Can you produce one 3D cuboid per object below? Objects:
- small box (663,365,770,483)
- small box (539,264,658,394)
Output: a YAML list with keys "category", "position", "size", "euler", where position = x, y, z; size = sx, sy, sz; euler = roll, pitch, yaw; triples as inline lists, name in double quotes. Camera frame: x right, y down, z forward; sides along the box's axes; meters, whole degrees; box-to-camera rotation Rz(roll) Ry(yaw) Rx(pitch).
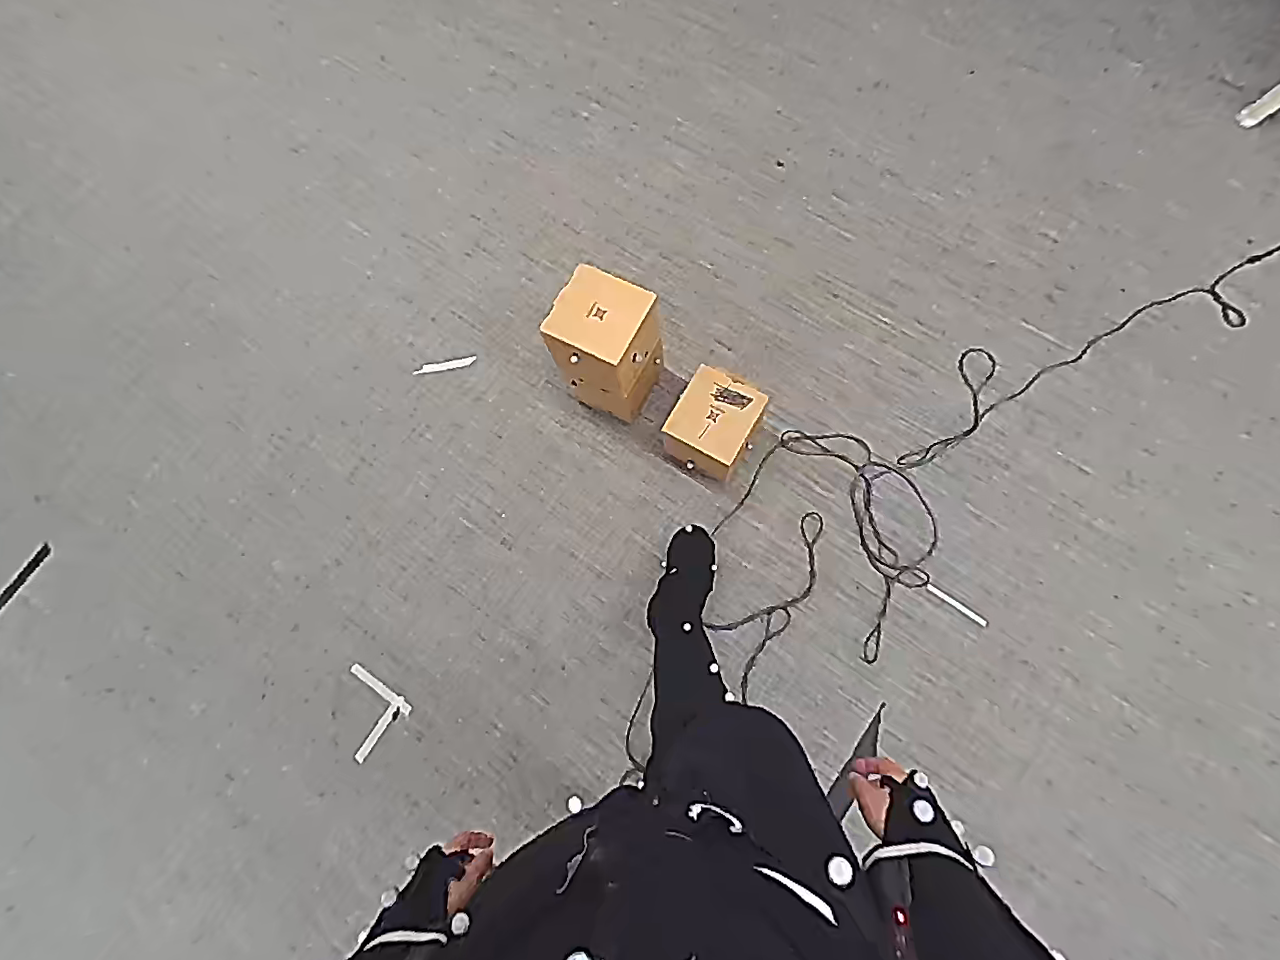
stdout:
- category: "small box"
  position: [0.166, -0.117, 1.202]
  size: [0.168, 0.176, 0.179]
  euler: [29, 81, 12]
- category: "small box"
  position: [-0.074, -0.295, 1.101]
  size: [0.179, 0.176, 0.168]
  euler: [26, 80, 11]
